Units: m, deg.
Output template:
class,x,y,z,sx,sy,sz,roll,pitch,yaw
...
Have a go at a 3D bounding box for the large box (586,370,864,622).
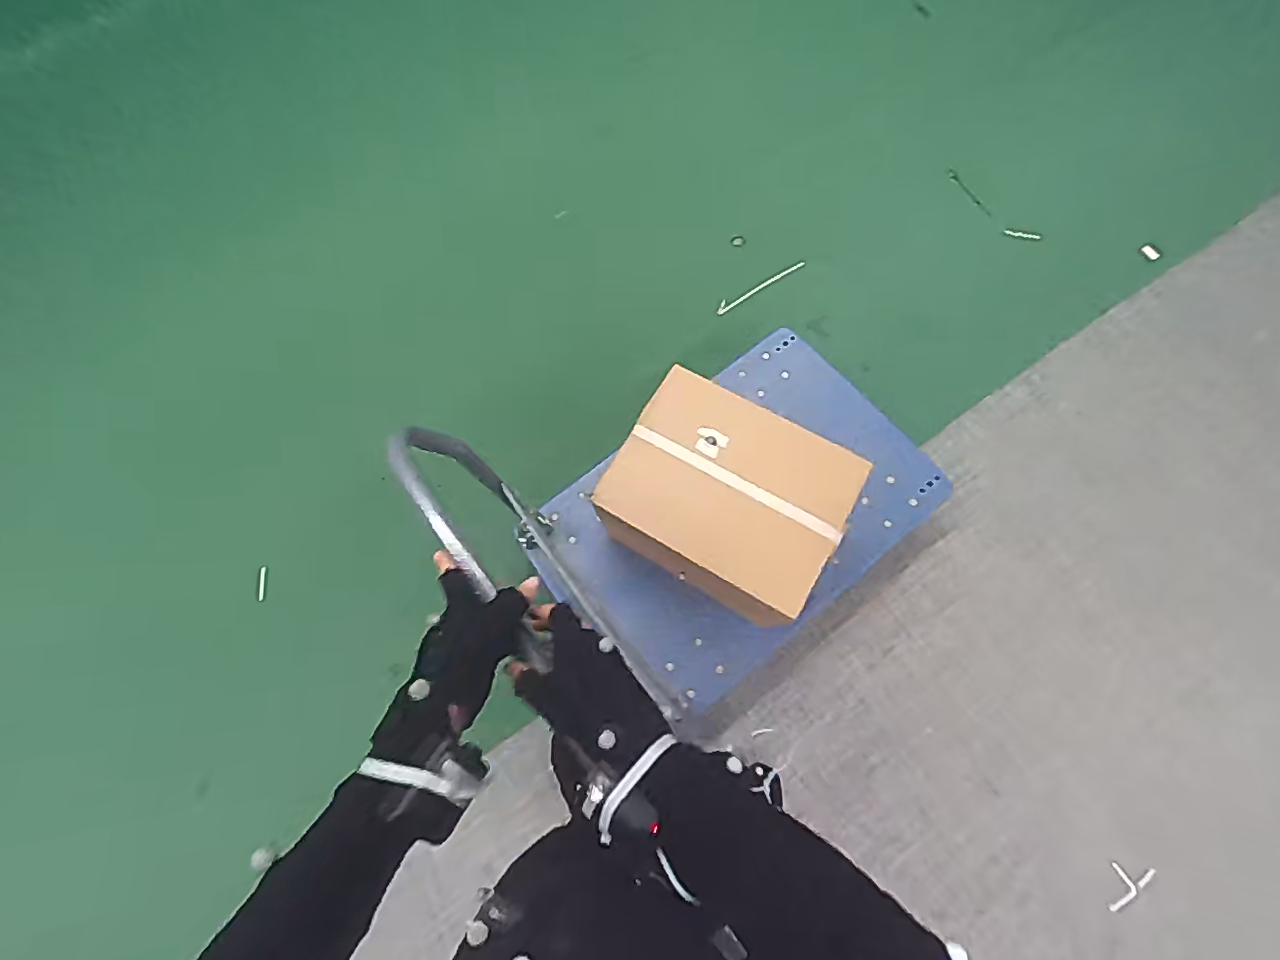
class,x,y,z,sx,sy,sz,roll,pitch,yaw
large box,0.160,0.050,1.095,0.408,0.320,0.320,30,76,12
